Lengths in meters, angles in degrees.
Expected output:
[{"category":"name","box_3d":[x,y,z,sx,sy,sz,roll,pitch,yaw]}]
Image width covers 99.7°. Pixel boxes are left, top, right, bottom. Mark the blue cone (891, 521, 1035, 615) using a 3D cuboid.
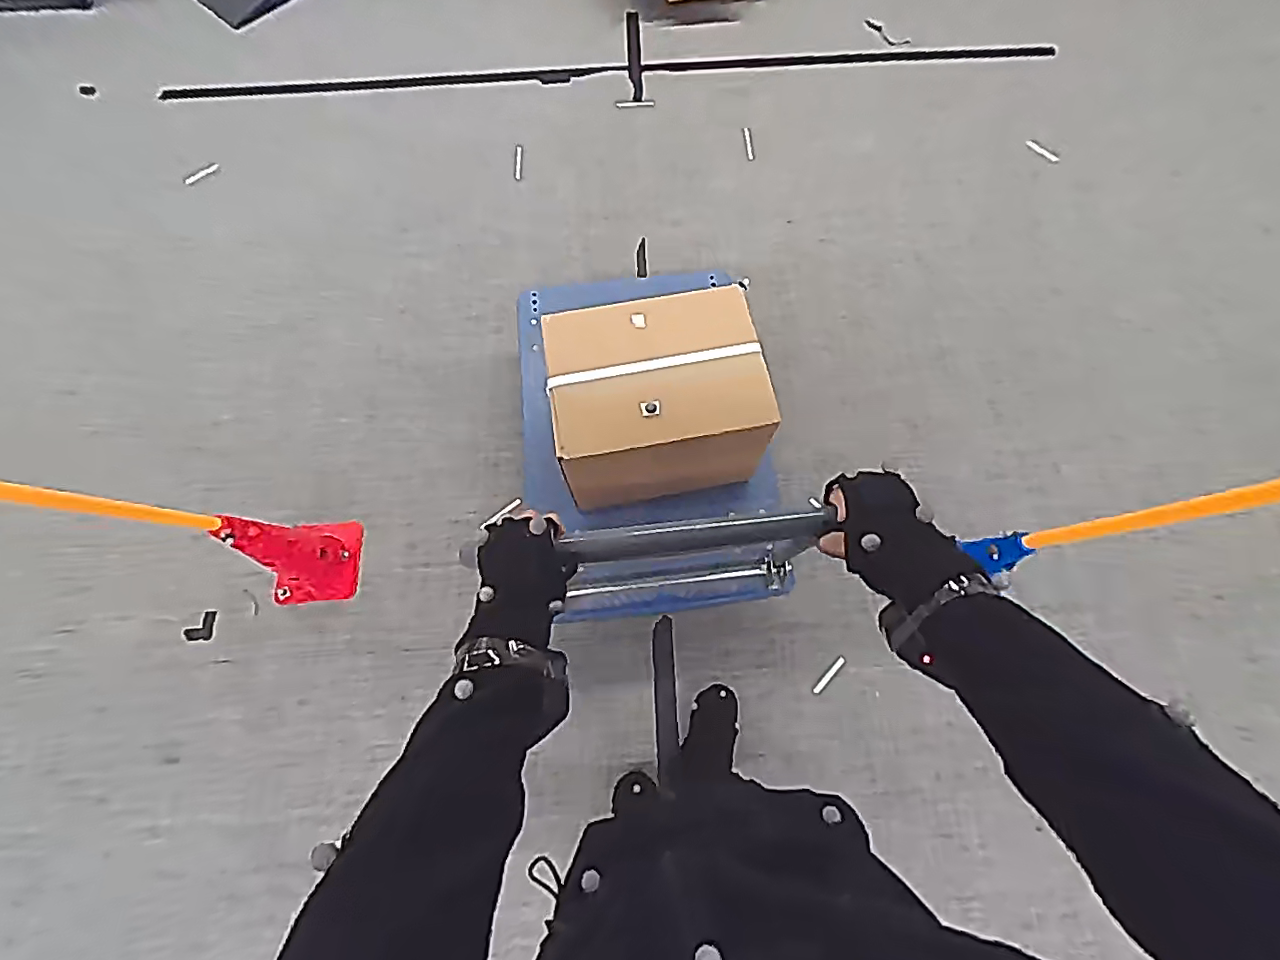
[{"category":"blue cone","box_3d":[0.735,0.173,1.191,0.193,0.380,0.192,-6,68,-2]}]
